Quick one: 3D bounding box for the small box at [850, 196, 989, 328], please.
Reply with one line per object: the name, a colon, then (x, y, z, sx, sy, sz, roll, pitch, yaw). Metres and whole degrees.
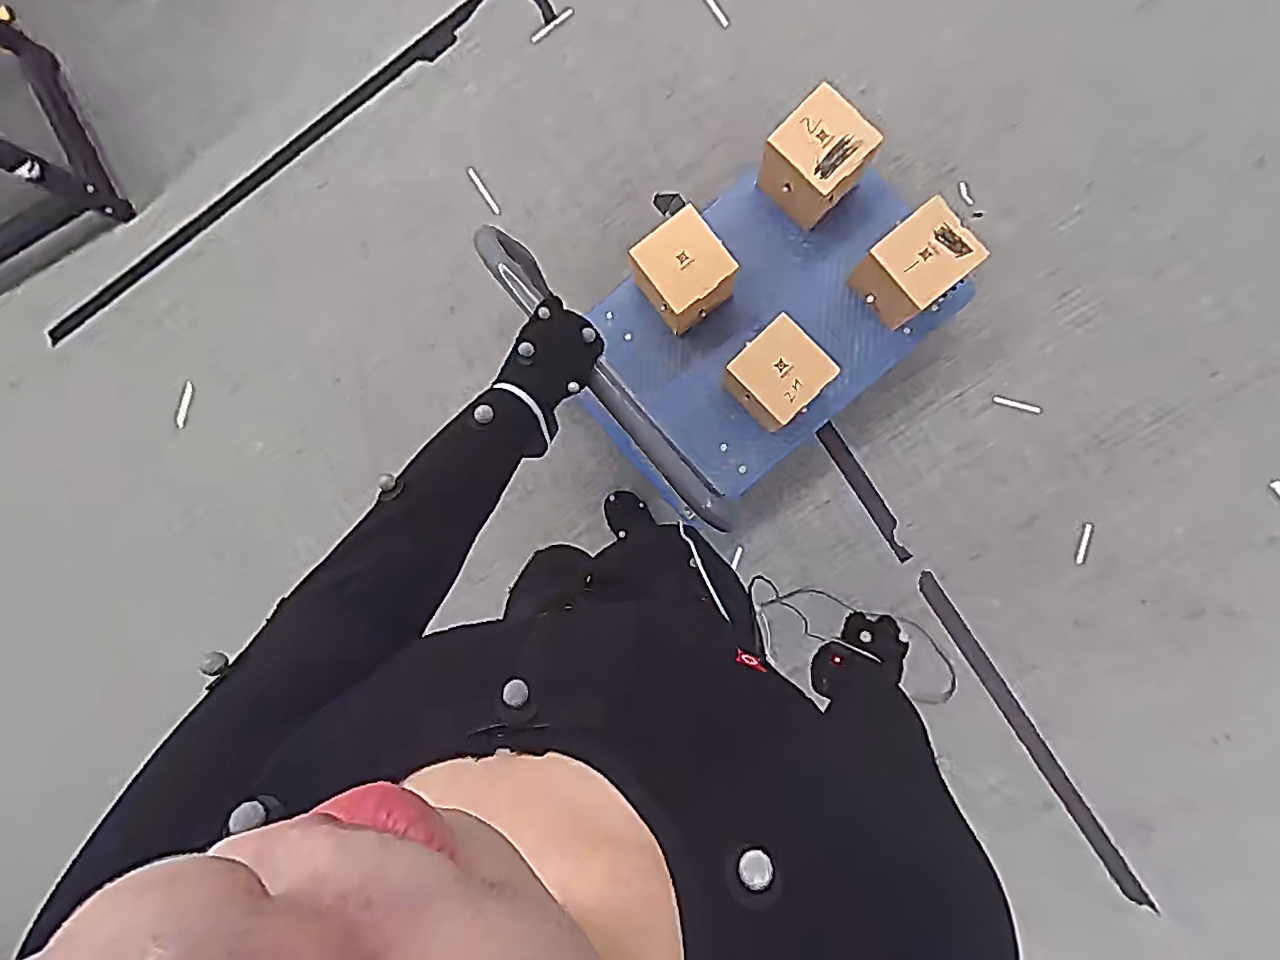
small box: (0.593, -0.463, 1.175, 0.179, 0.176, 0.168, -39, 88, 5)

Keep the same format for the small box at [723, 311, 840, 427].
small box: (0.302, -0.235, 1.199, 0.168, 0.176, 0.179, -43, 87, 4)

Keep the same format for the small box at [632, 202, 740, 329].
small box: (0.099, -0.468, 1.212, 0.168, 0.176, 0.179, -37, 90, 3)
